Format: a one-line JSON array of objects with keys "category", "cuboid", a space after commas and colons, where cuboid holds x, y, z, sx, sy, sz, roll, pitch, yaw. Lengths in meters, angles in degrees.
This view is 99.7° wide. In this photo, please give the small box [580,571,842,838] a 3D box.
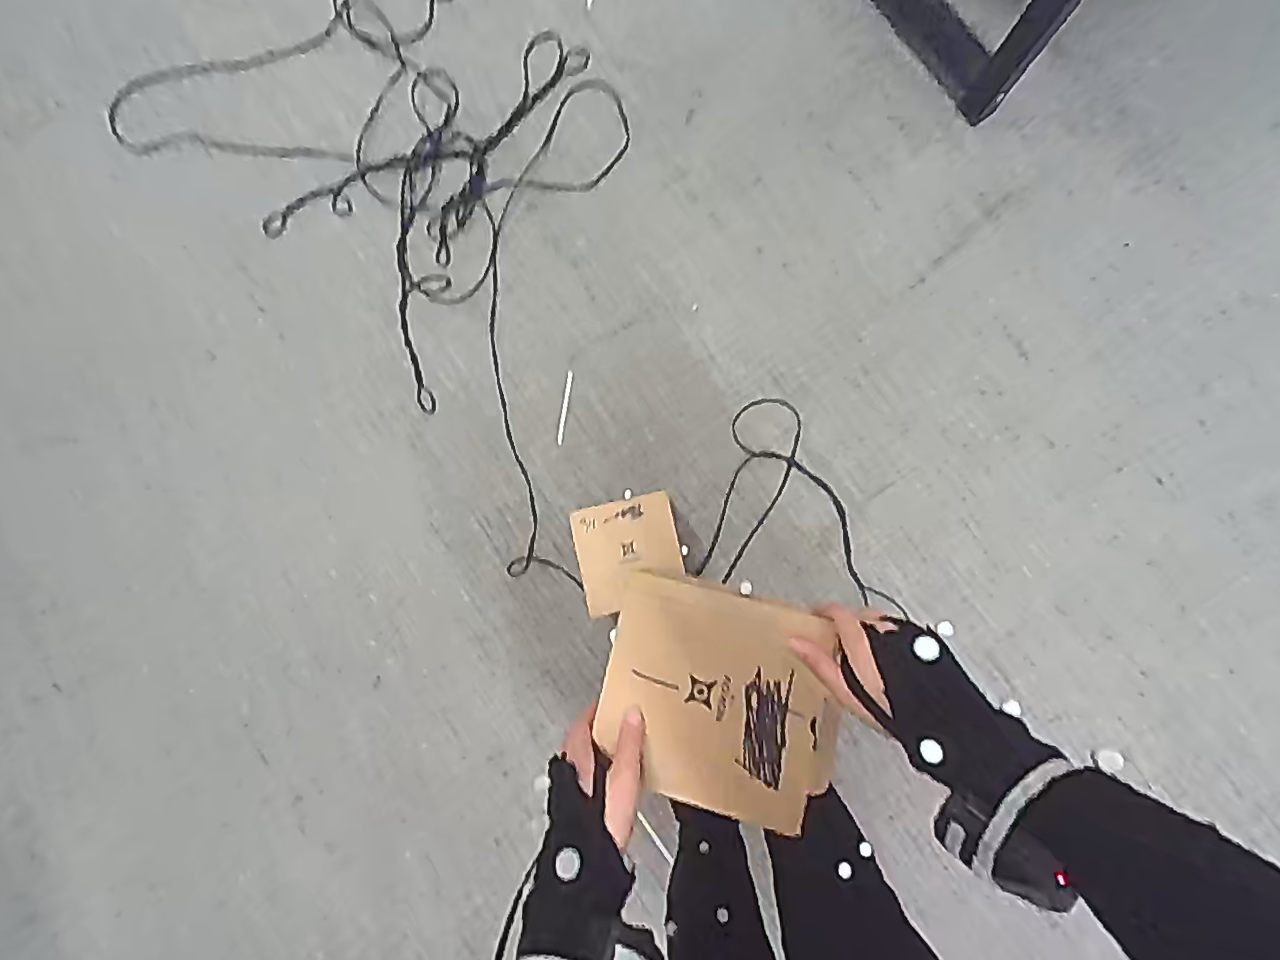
[{"category": "small box", "cuboid": [0.065, 0.183, 0.504, 0.179, 0.176, 0.168, 14, 83, 9]}]

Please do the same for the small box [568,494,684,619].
[{"category": "small box", "cuboid": [-0.015, 0.127, 0.940, 0.168, 0.176, 0.179, -13, 84, 2]}]
